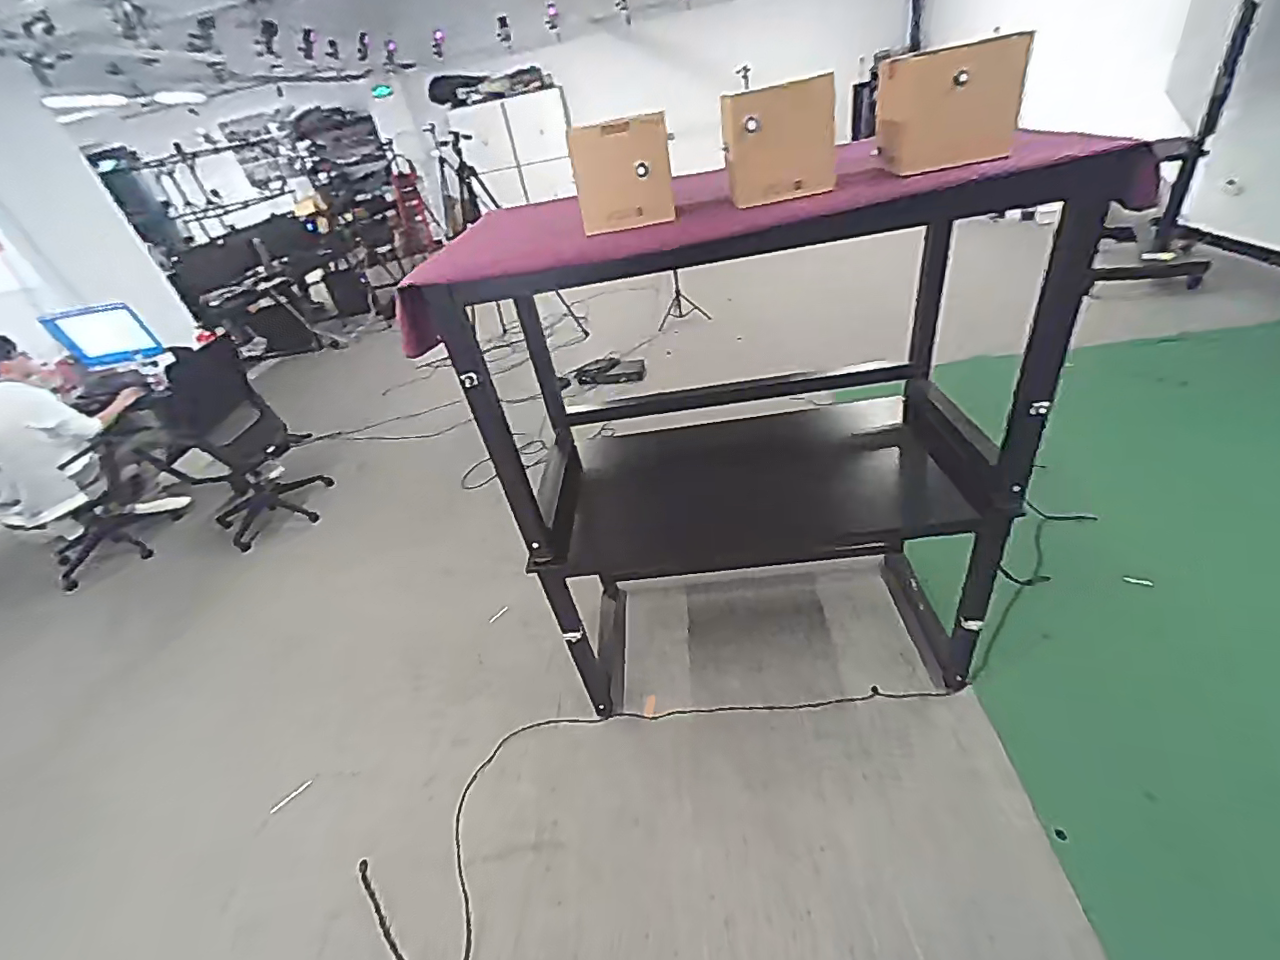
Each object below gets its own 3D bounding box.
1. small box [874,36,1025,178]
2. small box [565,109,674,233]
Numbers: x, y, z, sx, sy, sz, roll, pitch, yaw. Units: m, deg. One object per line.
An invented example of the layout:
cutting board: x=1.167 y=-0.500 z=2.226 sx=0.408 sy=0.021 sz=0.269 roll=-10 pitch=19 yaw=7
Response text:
small box: x=0.517 y=-0.635 z=0.935 sx=0.179 sy=0.176 sz=0.168 roll=-7 pitch=35 yaw=7
small box: x=-0.028 y=-0.566 z=0.999 sx=0.168 sy=0.176 sz=0.179 roll=-5 pitch=35 yaw=8
